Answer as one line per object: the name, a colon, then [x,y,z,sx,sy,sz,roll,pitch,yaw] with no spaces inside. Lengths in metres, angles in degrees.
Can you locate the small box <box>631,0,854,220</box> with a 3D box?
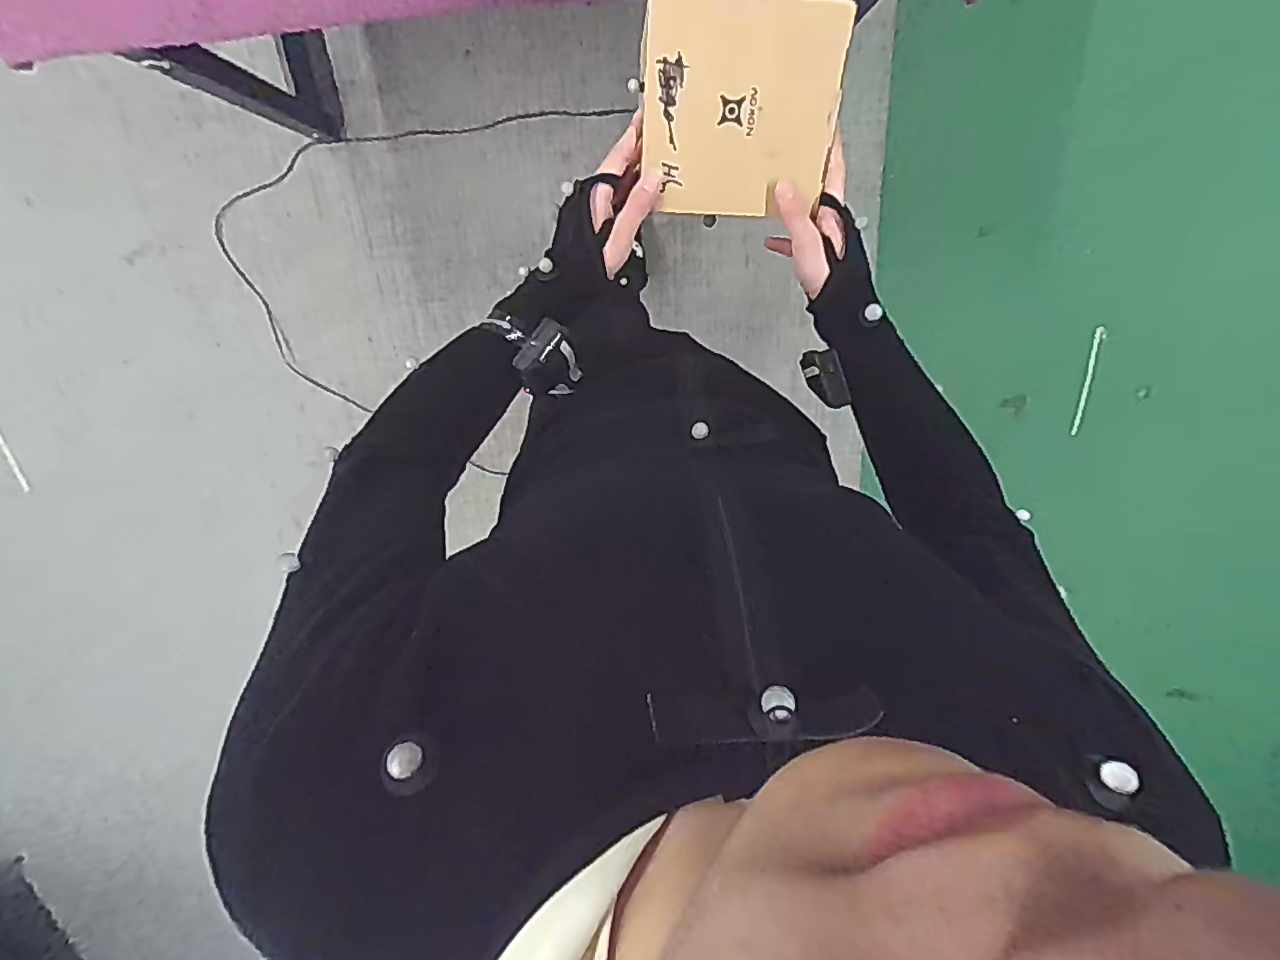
small box: [0.084,-0.367,0.550,0.179,0.176,0.168,2,118,-3]

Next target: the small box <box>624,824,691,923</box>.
small box: [0.047,1.101,1.522,0.179,0.176,0.168,-4,110,2]
